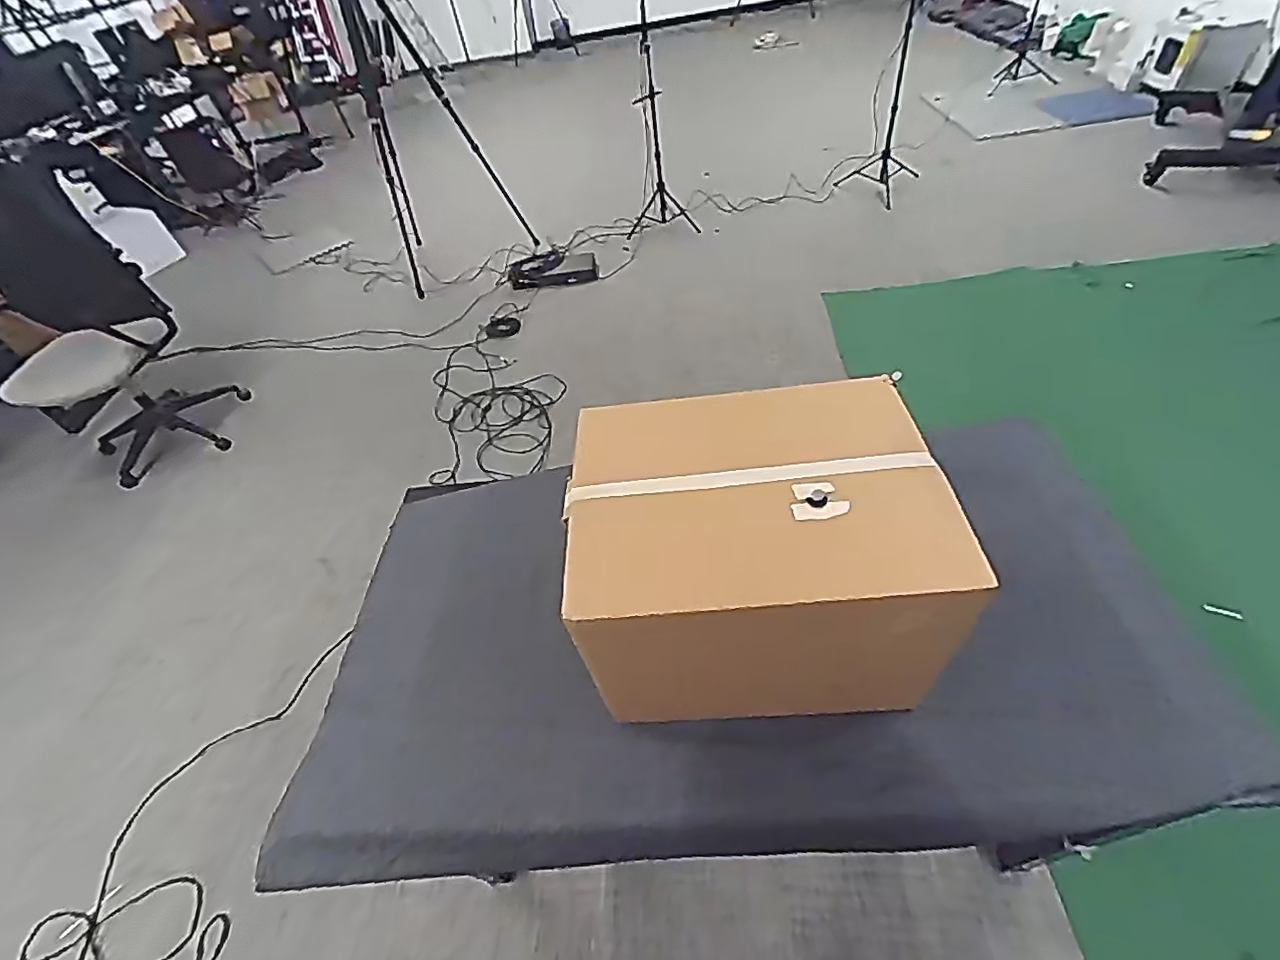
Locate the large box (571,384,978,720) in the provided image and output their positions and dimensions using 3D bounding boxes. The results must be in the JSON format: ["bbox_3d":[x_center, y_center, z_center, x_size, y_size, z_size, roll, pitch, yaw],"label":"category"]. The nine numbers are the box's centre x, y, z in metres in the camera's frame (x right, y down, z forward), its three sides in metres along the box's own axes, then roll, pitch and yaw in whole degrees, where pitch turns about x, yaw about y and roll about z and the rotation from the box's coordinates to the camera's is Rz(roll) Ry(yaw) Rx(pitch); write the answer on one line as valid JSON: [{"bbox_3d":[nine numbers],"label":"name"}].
[{"bbox_3d":[0.139,0.106,0.732,0.408,0.320,0.320,-6,49,5],"label":"large box"}]
